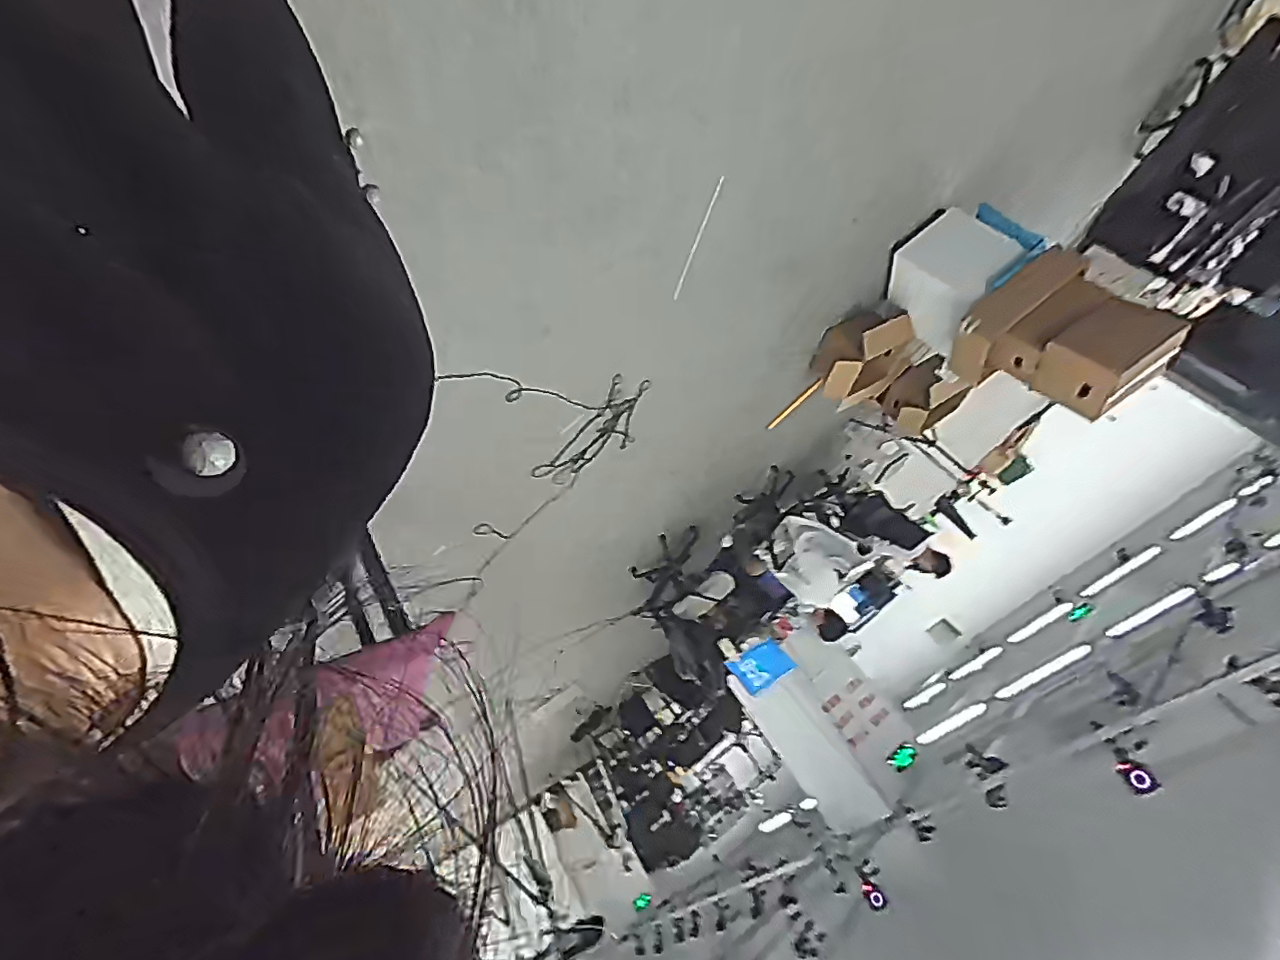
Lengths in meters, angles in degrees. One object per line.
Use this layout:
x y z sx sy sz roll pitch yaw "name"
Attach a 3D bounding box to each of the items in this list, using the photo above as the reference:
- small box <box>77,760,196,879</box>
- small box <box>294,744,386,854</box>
-1.142 0.778 1.234 0.179 0.176 0.168 -11 144 -41 "small box"
-0.766 0.811 1.384 0.168 0.176 0.179 -17 148 -36 "small box"
